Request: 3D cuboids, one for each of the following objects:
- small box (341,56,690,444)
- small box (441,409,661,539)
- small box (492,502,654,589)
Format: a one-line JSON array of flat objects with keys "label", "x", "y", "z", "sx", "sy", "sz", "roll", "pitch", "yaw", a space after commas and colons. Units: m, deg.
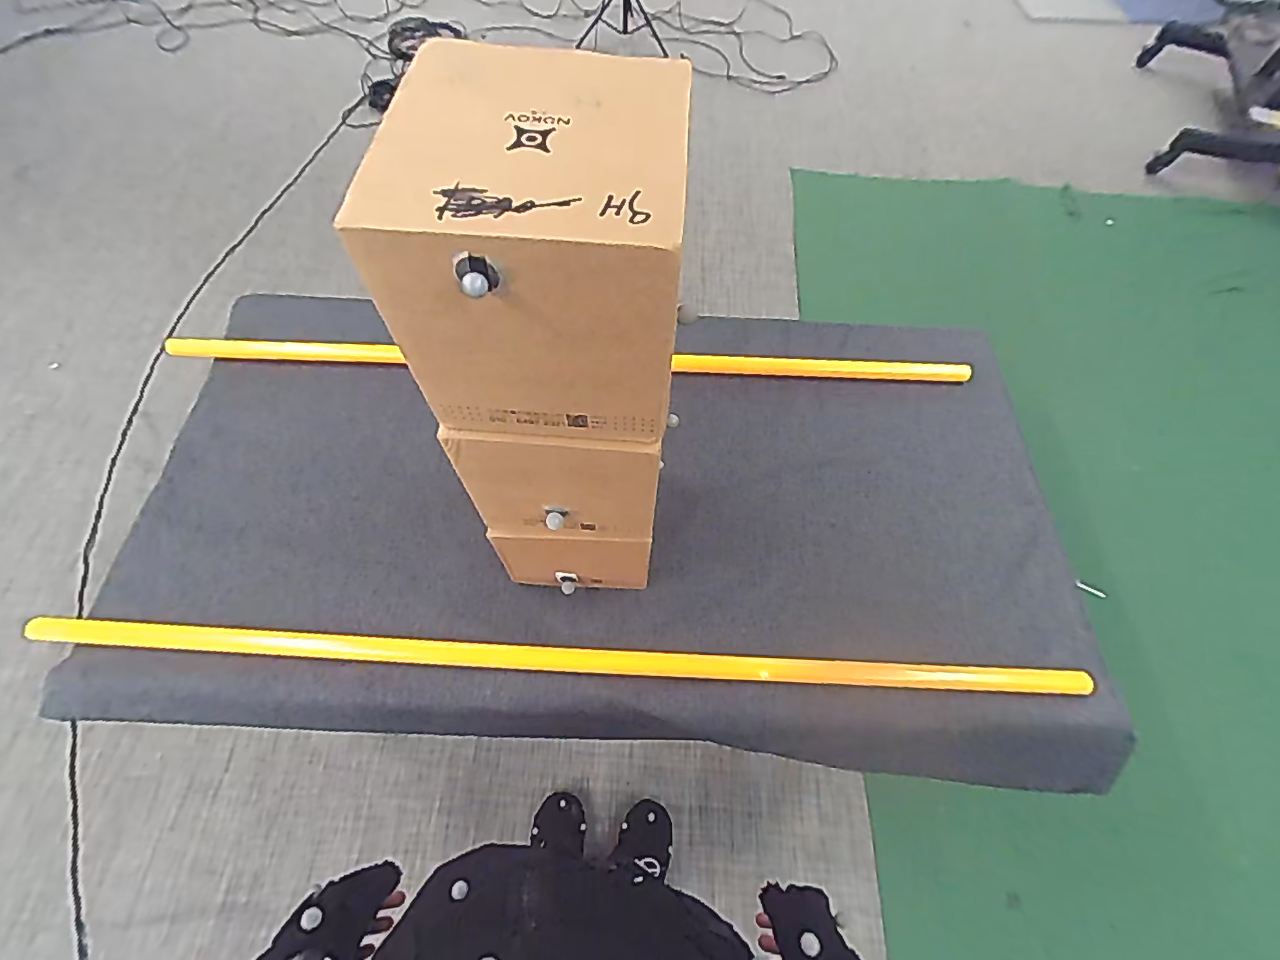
[{"label": "small box", "x": -0.058, "y": -0.147, "z": 0.368, "sx": 0.168, "sy": 0.176, "sz": 0.179, "roll": 4, "pitch": 61, "yaw": 2}, {"label": "small box", "x": -0.063, "y": -0.062, "z": 0.508, "sx": 0.168, "sy": 0.176, "sz": 0.179, "roll": 4, "pitch": 62, "yaw": 2}, {"label": "small box", "x": -0.068, "y": 0.021, "z": 0.650, "sx": 0.168, "sy": 0.176, "sz": 0.179, "roll": 1, "pitch": 63, "yaw": 0}]
